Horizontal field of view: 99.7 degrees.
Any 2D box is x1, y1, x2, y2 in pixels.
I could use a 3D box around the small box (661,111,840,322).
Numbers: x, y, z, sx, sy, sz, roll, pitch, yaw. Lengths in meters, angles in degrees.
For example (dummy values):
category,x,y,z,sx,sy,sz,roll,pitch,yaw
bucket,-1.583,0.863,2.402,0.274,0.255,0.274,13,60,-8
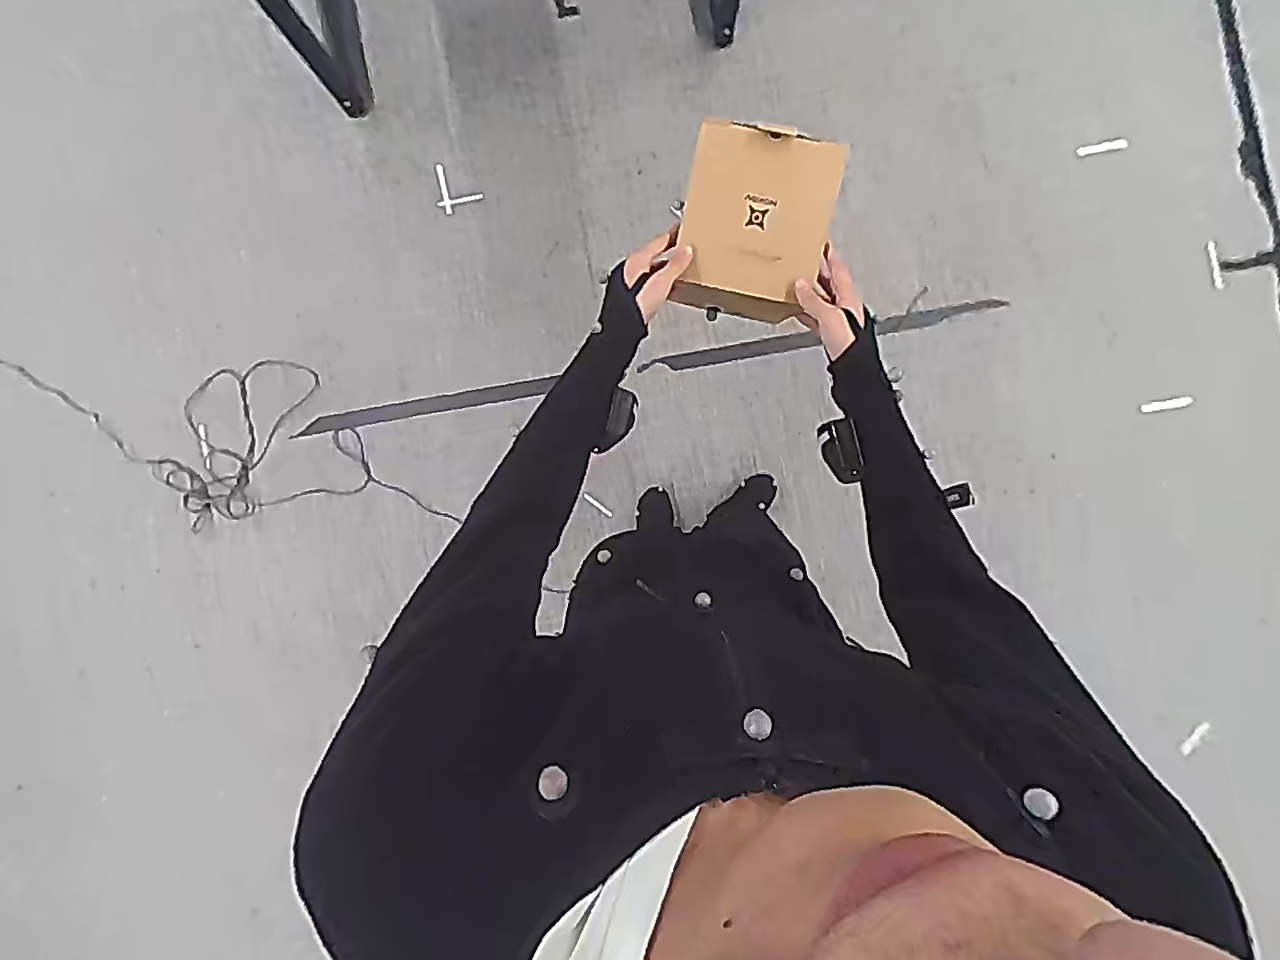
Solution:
category,x,y,z,sx,sy,sz,roll,pitch,yaw
small box,0.121,-0.308,0.670,0.168,0.176,0.179,11,99,0
